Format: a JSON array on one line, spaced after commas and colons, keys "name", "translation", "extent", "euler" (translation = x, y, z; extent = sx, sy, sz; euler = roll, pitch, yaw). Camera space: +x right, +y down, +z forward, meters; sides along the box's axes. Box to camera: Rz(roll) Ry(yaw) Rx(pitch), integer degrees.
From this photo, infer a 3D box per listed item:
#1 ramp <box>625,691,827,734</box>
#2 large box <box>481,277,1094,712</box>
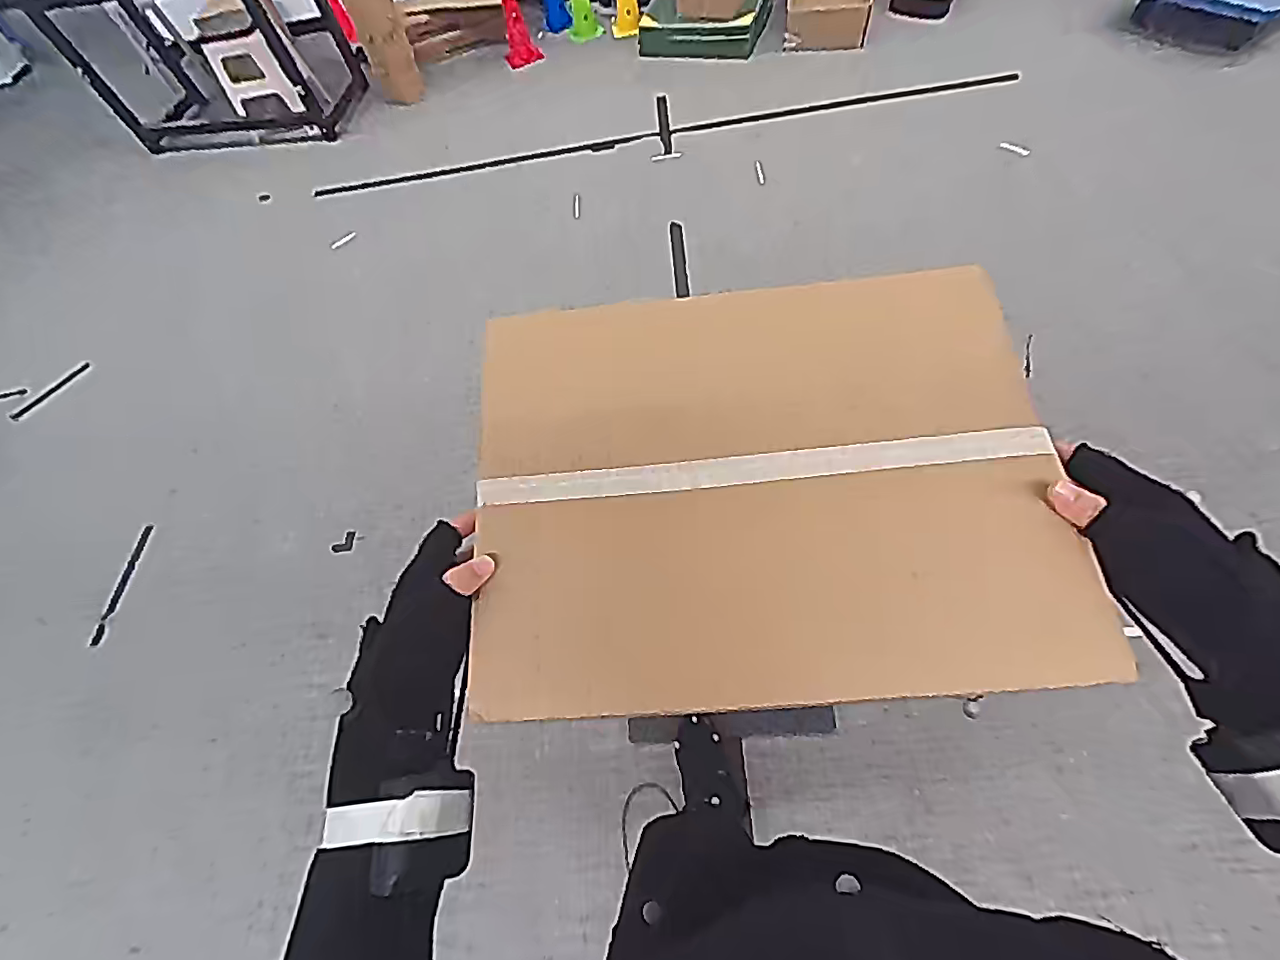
[{"name": "ramp", "translation": [0.176, 0.127, 1.462], "extent": [0.509, 0.206, 0.991], "euler": [-6, 61, 2]}, {"name": "large box", "translation": [0.095, 0.044, 0.540], "extent": [0.408, 0.320, 0.320], "euler": [-5, 68, 3]}]
